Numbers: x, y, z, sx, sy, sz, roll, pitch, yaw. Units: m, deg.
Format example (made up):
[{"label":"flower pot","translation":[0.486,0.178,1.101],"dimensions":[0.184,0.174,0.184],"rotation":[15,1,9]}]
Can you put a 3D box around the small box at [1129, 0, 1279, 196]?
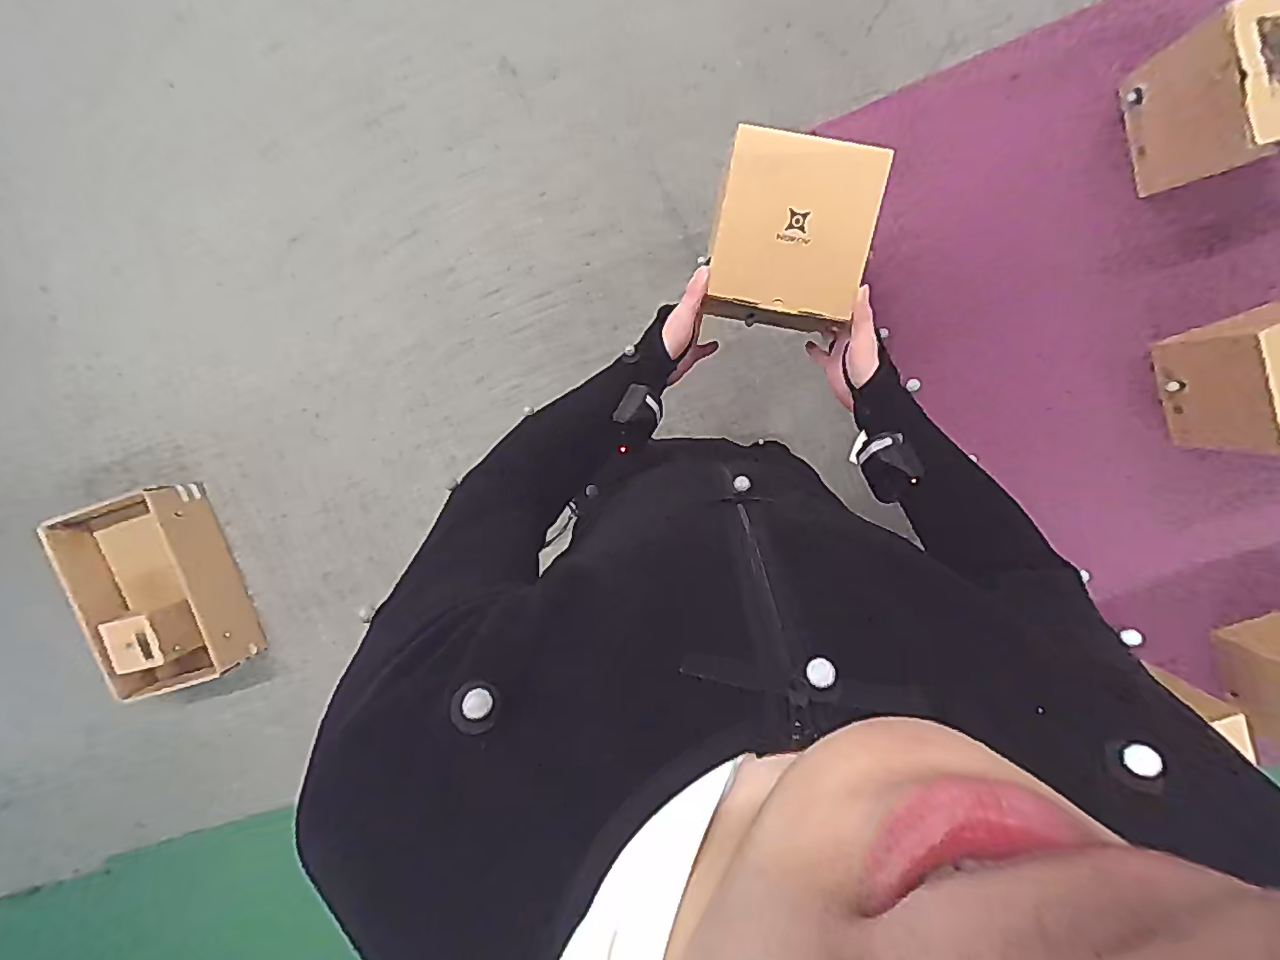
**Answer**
[{"label":"small box","translation":[0.776,-0.495,0.689],"dimensions":[0.179,0.176,0.168],"rotation":[-16,97,8]}]

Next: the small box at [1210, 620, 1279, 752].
[{"label":"small box","translation":[1.010,0.307,0.784],"dimensions":[0.179,0.176,0.168],"rotation":[-20,95,7]}]

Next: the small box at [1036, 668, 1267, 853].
[{"label":"small box","translation":[0.754,0.408,0.816],"dimensions":[0.179,0.176,0.168],"rotation":[-18,94,6]}]

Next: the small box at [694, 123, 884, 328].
[{"label":"small box","translation":[0.162,-0.289,0.654],"dimensions":[0.168,0.176,0.179],"rotation":[10,103,0]}]

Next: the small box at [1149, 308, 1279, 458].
[{"label":"small box","translation":[0.865,-0.140,0.736],"dimensions":[0.179,0.176,0.168],"rotation":[-18,95,8]}]
